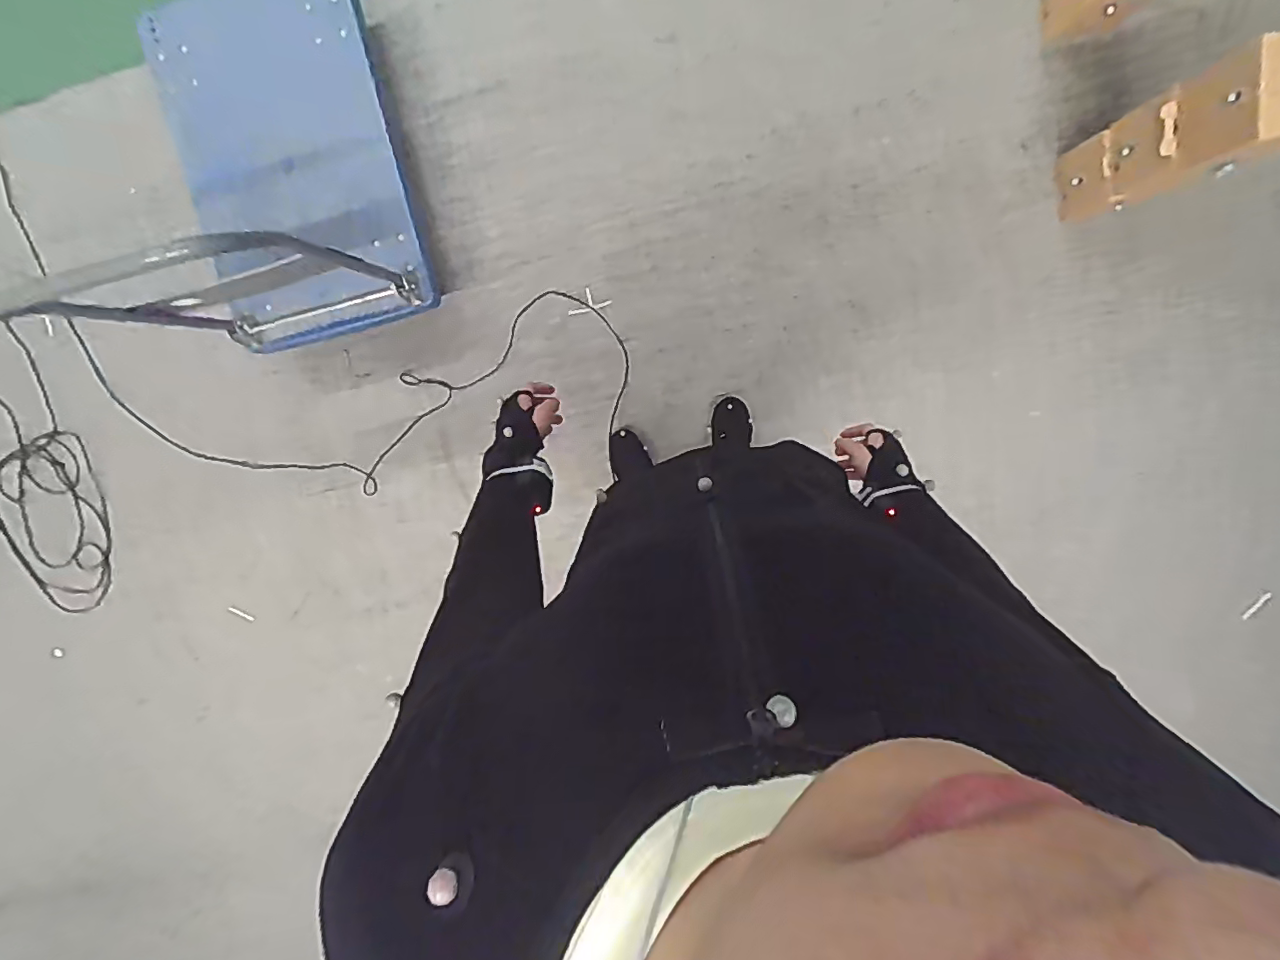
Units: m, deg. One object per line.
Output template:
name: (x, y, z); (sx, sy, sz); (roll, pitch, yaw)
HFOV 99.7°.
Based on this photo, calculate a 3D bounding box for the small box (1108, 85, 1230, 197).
small box: (1.195, -0.750, 1.195); (0.179, 0.176, 0.168); (-6, 98, 5)

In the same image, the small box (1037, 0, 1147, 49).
small box: (1.104, -1.198, 1.317); (0.179, 0.176, 0.168); (-8, 99, 5)

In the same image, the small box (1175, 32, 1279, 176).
small box: (1.183, -0.718, 1.035); (0.168, 0.176, 0.179); (-7, 98, 6)

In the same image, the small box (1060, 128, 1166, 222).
small box: (1.197, -0.773, 1.358); (0.179, 0.176, 0.168); (-11, 98, 6)
